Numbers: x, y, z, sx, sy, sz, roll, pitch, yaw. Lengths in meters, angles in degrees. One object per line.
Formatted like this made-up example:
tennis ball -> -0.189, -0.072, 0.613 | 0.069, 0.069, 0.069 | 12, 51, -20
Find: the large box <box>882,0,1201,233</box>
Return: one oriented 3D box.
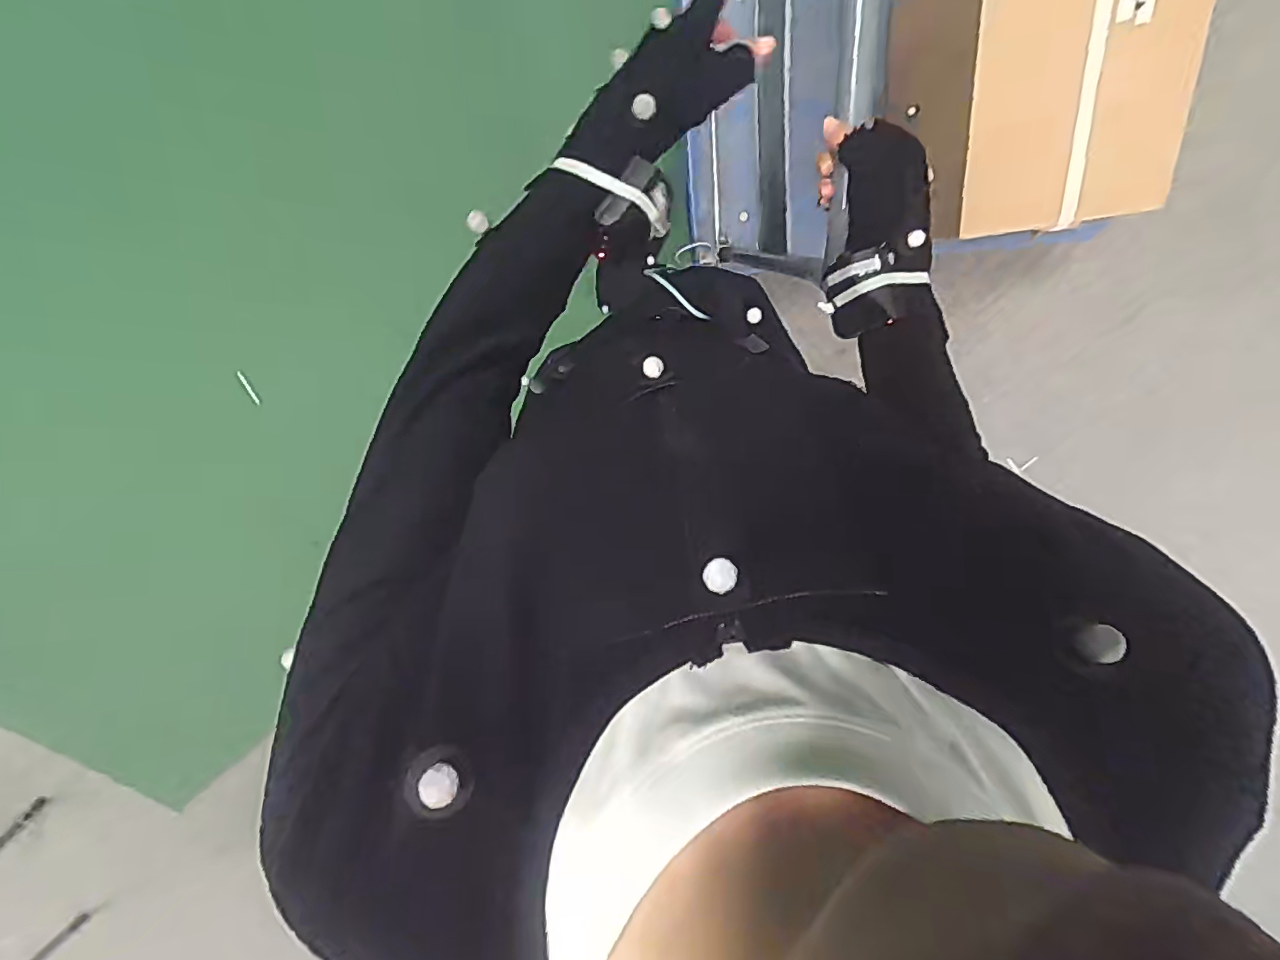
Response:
large box -> 0.619, -0.652, 0.896 | 0.320, 0.320, 0.408 | -7, 114, 2
